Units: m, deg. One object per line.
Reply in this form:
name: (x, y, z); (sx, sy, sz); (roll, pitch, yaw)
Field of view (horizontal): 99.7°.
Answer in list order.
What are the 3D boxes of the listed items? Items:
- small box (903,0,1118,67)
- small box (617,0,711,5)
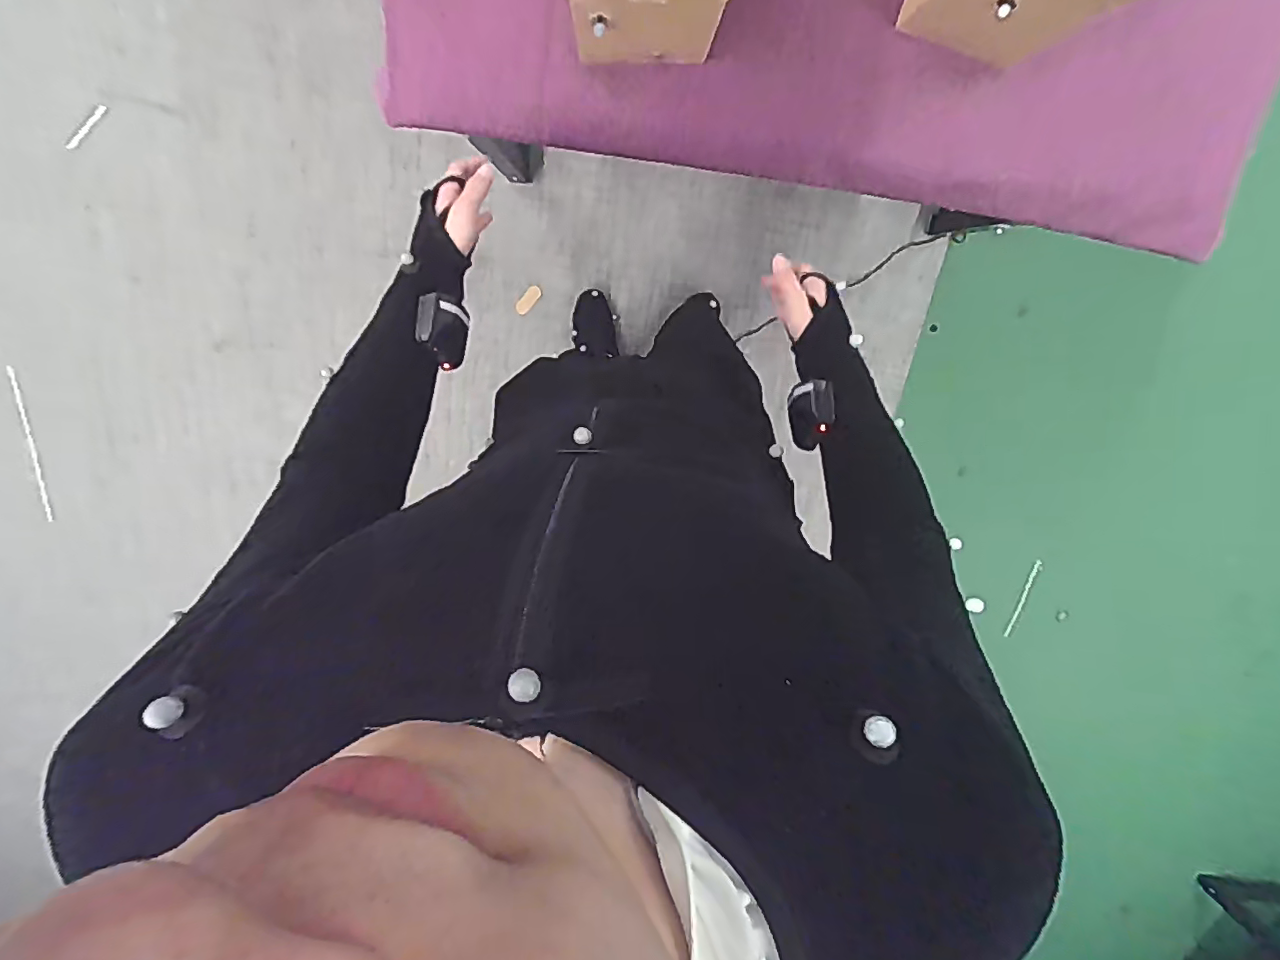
small box: (0.444, -0.618, 0.623); (0.179, 0.176, 0.168); (13, 109, -8)
small box: (0.015, -0.543, 0.456); (0.179, 0.176, 0.168); (0, 109, -2)
